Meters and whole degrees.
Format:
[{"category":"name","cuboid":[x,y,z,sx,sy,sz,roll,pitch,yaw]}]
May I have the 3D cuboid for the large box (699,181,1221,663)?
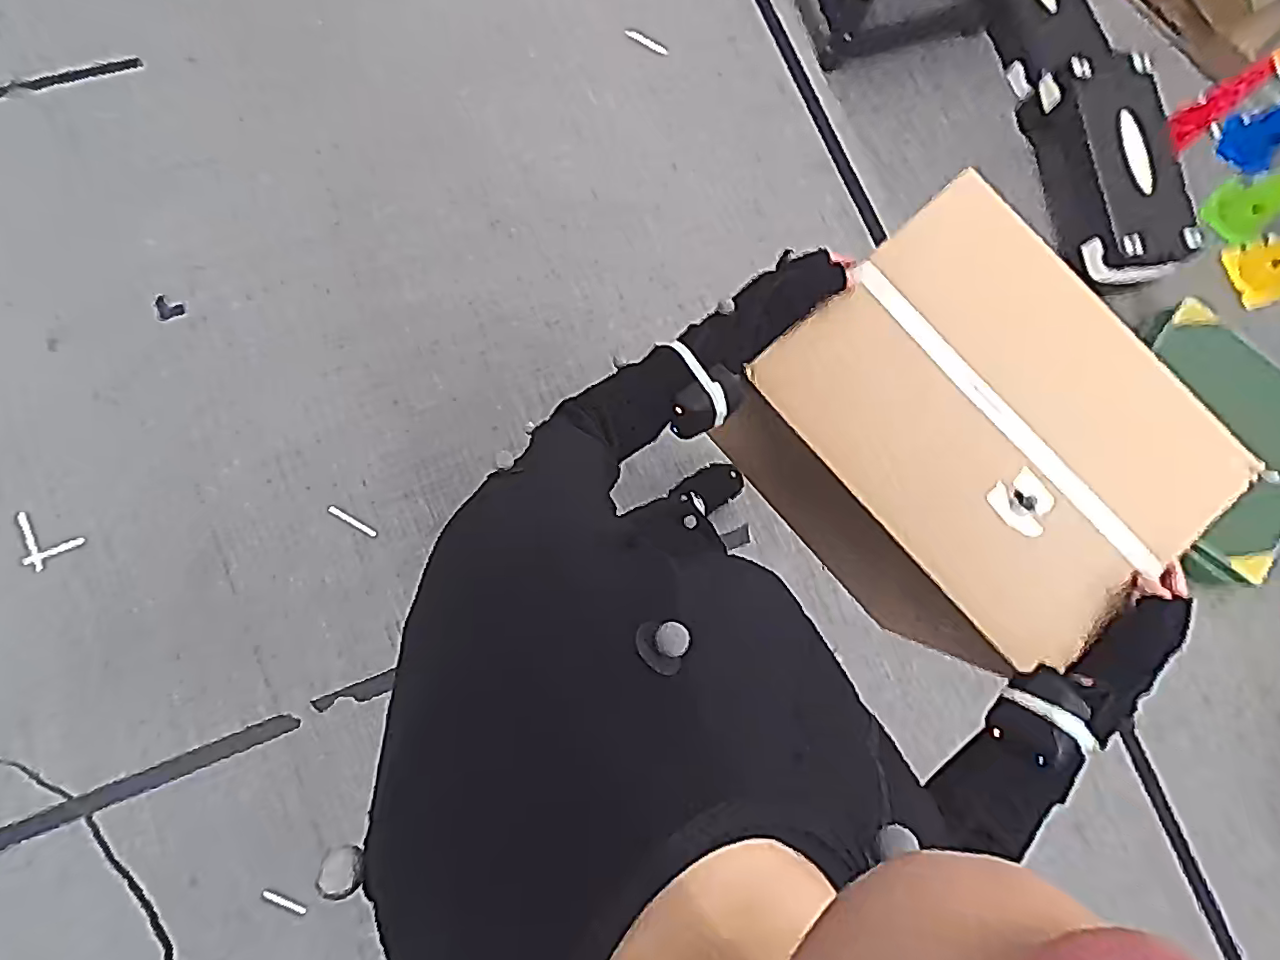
[{"category":"large box","cuboid":[0.336,-0.056,0.685,0.320,0.320,0.408,-42,89,-4]}]
